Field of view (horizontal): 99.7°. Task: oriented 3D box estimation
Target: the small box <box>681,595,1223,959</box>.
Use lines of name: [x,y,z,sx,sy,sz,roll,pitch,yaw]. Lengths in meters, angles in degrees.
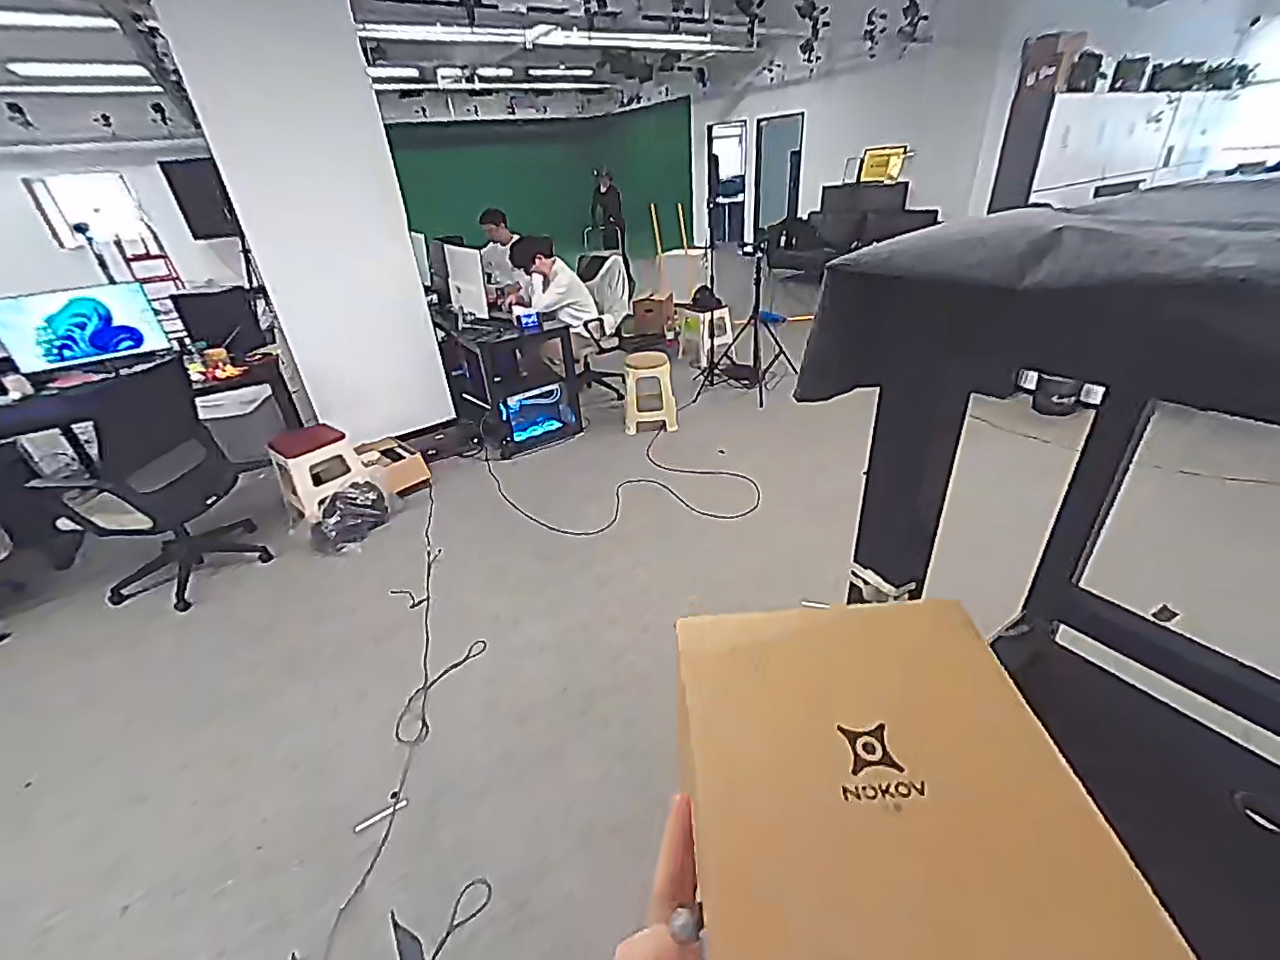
small box: [0.109,0.185,0.282,0.168,0.176,0.179,-4,35,0]
